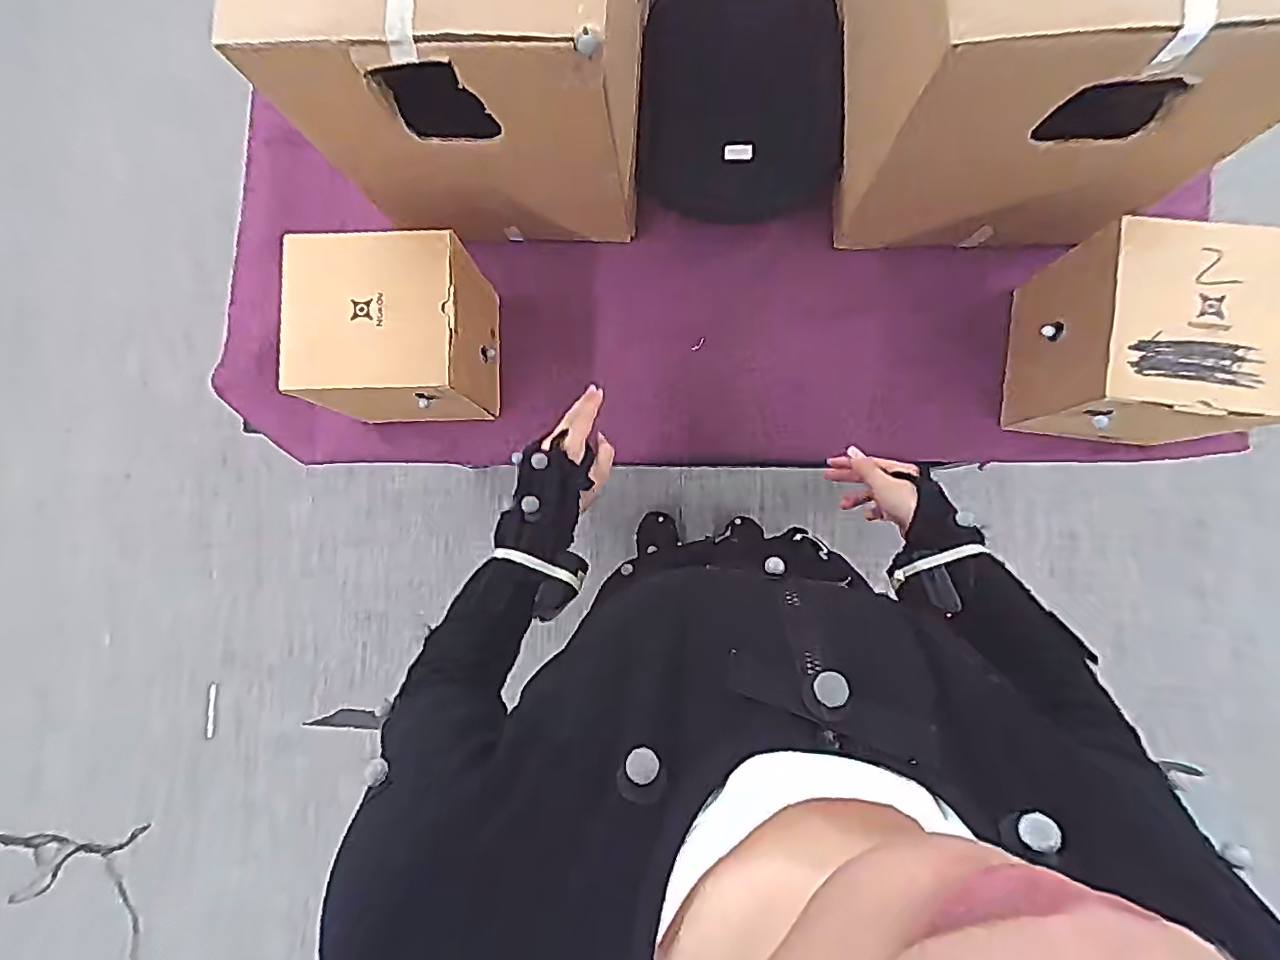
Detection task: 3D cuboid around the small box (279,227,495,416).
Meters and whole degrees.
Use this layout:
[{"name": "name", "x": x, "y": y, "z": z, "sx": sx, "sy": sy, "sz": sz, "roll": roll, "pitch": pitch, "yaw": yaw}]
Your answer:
[{"name": "small box", "x": -0.281, "y": -0.172, "z": 0.634, "sx": 0.179, "sy": 0.176, "sz": 0.168, "roll": -2, "pitch": 86, "yaw": 1}]

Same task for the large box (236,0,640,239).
[{"name": "large box", "x": -0.163, "y": -0.525, "z": 0.580, "sx": 0.320, "sy": 0.320, "sz": 0.408, "roll": 2, "pitch": 89, "yaw": 5}]
